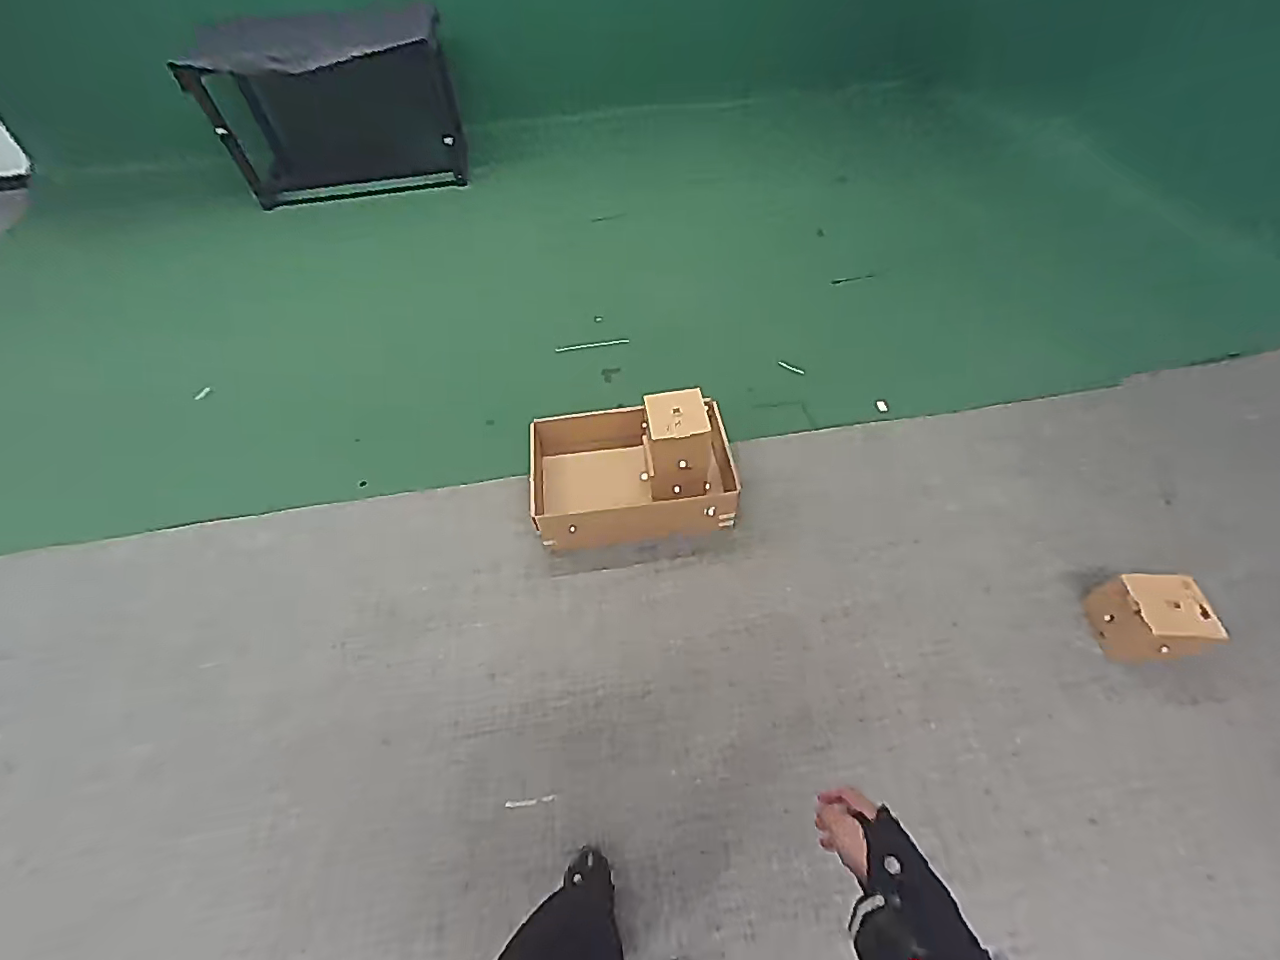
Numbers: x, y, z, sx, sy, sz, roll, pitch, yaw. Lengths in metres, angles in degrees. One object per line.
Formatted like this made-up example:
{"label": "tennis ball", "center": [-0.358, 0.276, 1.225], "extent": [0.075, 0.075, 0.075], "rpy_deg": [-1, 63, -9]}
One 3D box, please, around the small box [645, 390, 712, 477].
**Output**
{"label": "small box", "center": [0.106, -0.132, 1.553], "extent": [0.168, 0.176, 0.179], "rpy_deg": [-9, 54, -2]}

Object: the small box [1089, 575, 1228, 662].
{"label": "small box", "center": [1.301, 0.356, 1.380], "extent": [0.179, 0.176, 0.168], "rpy_deg": [0, 53, 5]}
